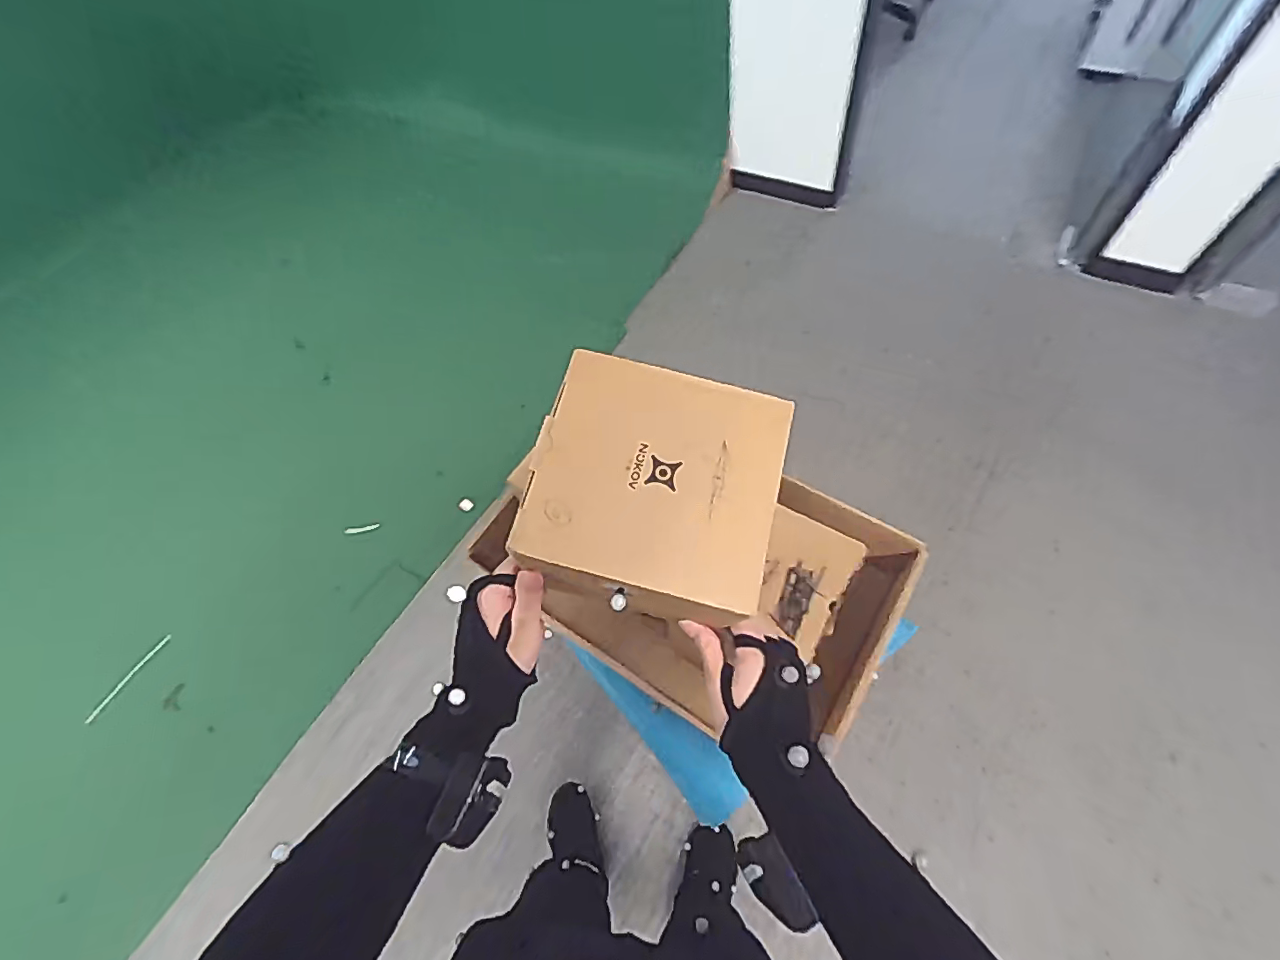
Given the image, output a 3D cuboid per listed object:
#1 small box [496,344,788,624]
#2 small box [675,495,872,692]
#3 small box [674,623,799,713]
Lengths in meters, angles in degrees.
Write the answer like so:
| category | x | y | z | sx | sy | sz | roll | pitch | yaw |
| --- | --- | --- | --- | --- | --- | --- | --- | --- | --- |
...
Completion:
| category | x | y | z | sx | sy | sz | roll | pitch | yaw |
| --- | --- | --- | --- | --- | --- | --- | --- | --- | --- |
| small box | 0.004 | 0.017 | 0.457 | 0.179 | 0.176 | 0.168 | 15 | 71 | 2 |
| small box | 0.151 | 0.137 | 0.661 | 0.179 | 0.176 | 0.168 | 27 | 67 | 23 |
| small box | 0.172 | 0.221 | 0.801 | 0.179 | 0.176 | 0.168 | 29 | 68 | 23 |
